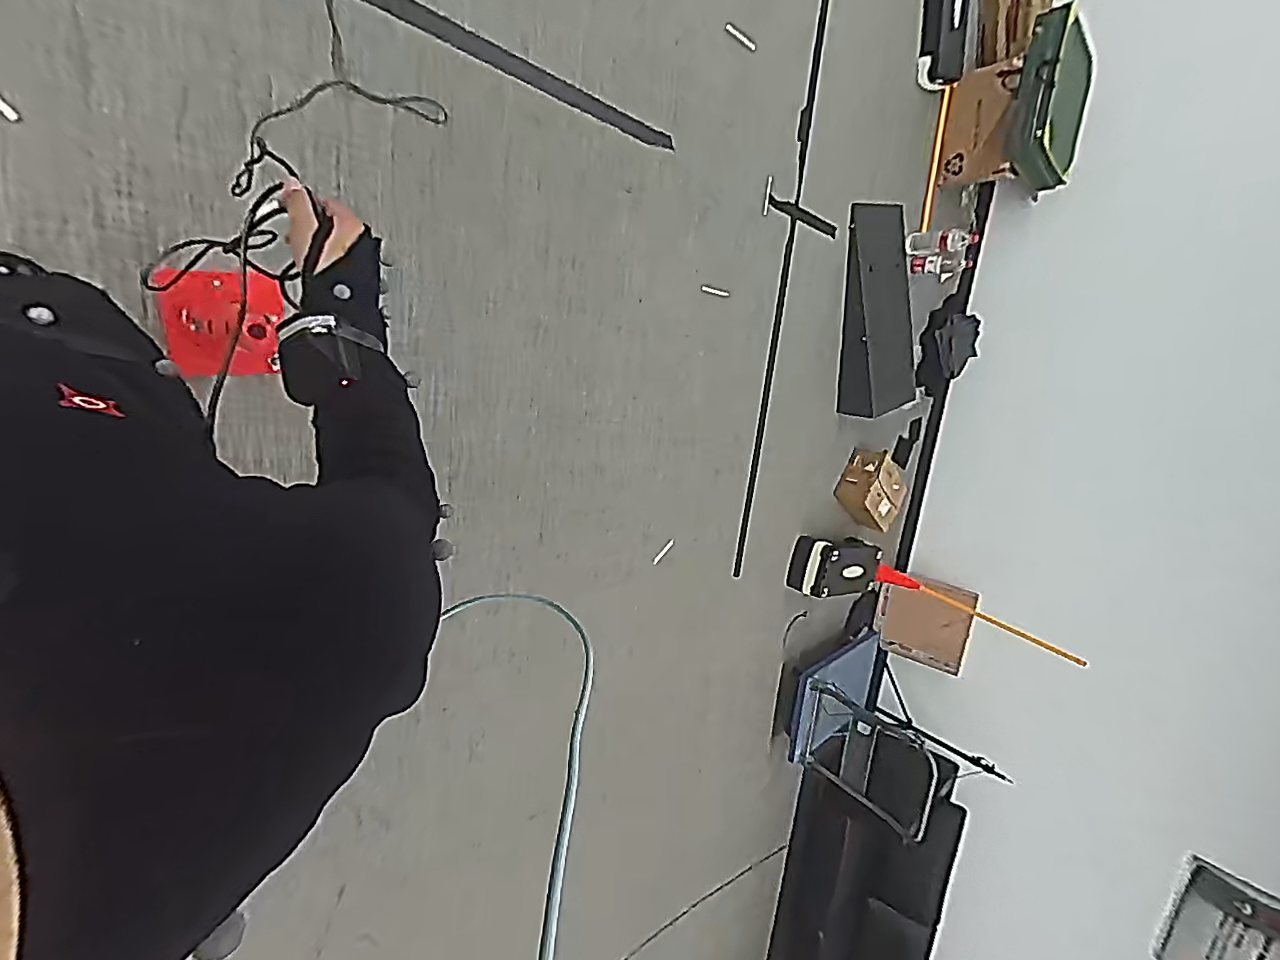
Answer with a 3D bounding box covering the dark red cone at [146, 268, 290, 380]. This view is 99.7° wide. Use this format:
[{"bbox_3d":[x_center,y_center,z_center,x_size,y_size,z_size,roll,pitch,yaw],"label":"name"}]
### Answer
[{"bbox_3d":[-0.695,-0.264,0.926,0.202,0.394,0.201,-14,112,-40],"label":"dark red cone"}]
